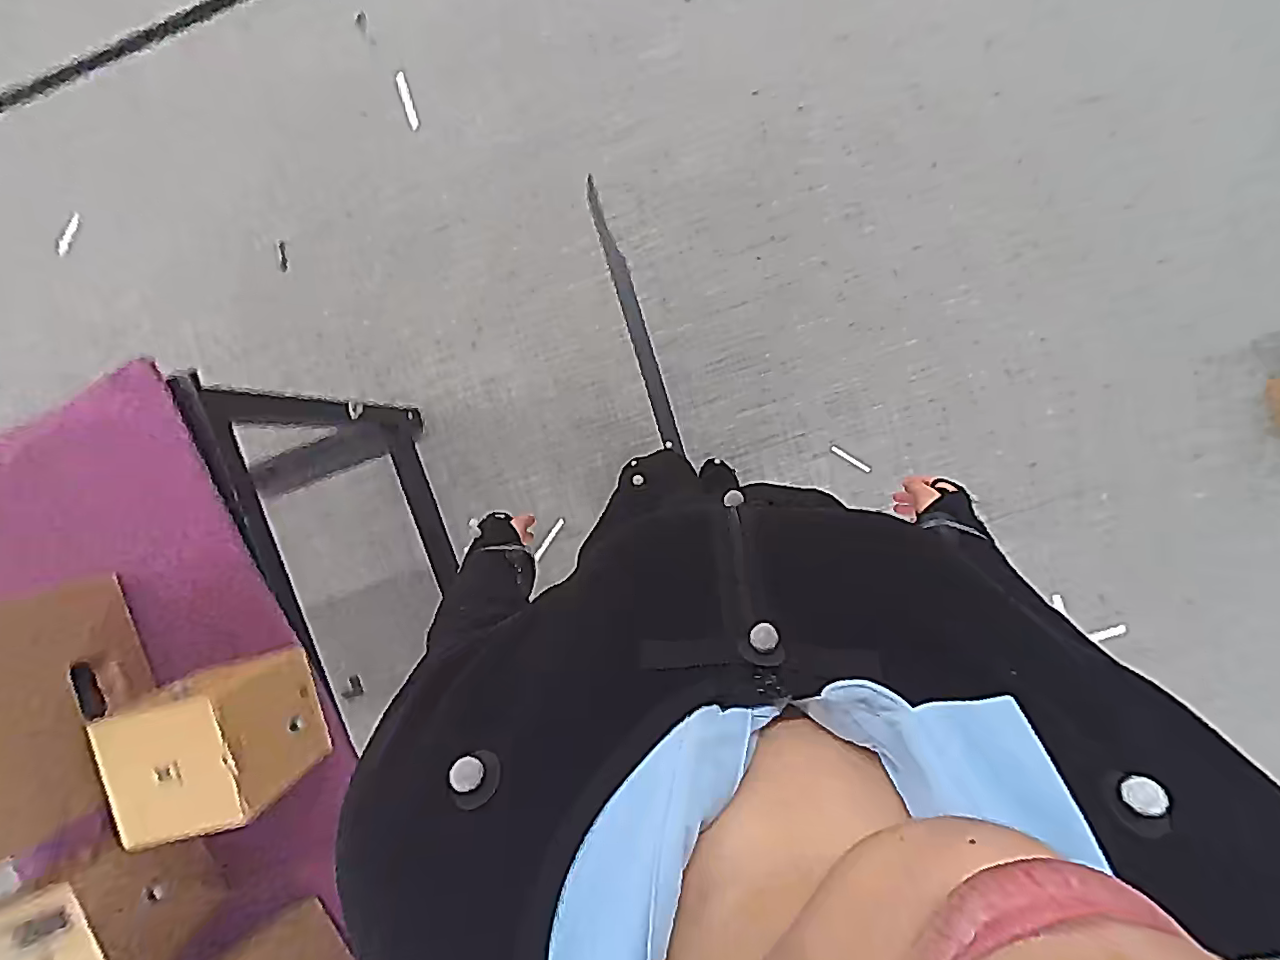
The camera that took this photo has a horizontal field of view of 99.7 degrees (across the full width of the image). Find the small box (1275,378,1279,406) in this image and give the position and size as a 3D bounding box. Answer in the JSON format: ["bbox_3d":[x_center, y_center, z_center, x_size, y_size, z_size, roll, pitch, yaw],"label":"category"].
[{"bbox_3d":[1.682,-0.199,1.277,0.179,0.176,0.168,-22,92,5],"label":"small box"}]
